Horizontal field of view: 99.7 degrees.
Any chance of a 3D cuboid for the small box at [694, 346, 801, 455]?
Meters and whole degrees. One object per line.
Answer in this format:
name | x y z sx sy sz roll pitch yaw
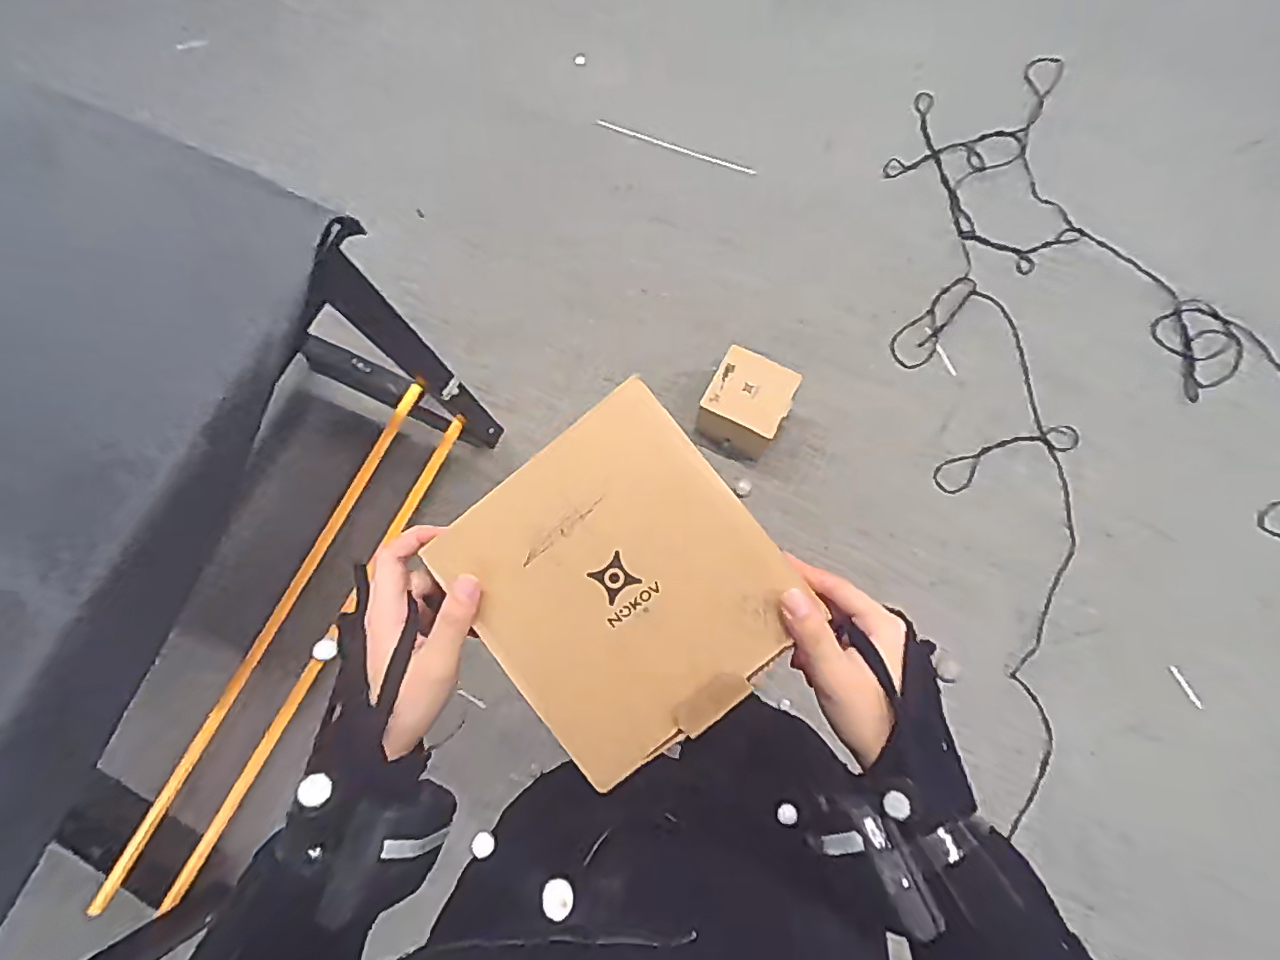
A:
small box | 0.240 -0.173 1.246 0.179 0.176 0.168 28 79 7
